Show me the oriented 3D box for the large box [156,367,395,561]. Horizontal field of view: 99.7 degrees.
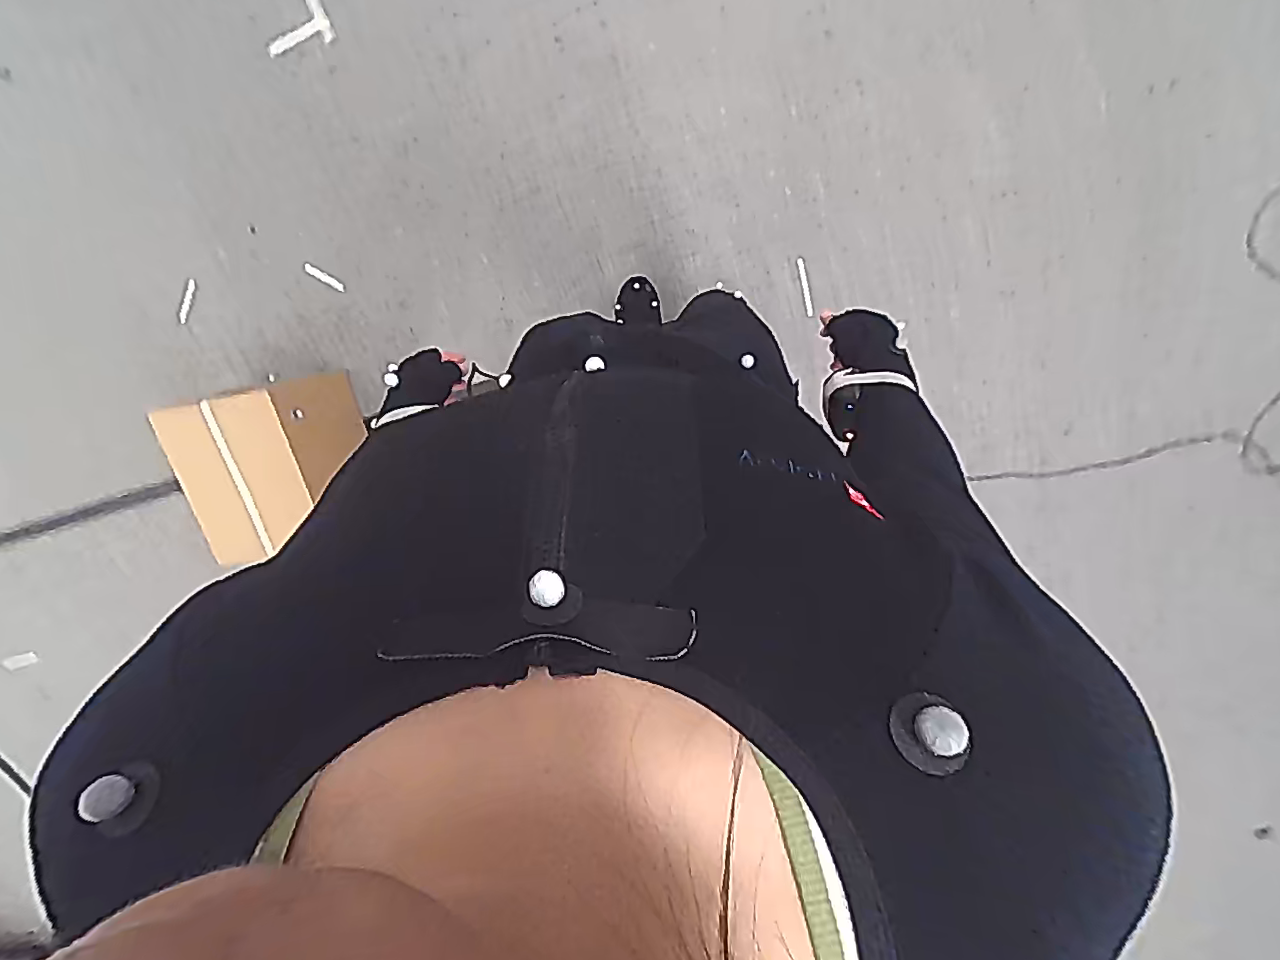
[{"bbox_3d":[-0.918,-0.052,1.423,0.320,0.320,0.408,-8,110,7],"label":"large box"}]
